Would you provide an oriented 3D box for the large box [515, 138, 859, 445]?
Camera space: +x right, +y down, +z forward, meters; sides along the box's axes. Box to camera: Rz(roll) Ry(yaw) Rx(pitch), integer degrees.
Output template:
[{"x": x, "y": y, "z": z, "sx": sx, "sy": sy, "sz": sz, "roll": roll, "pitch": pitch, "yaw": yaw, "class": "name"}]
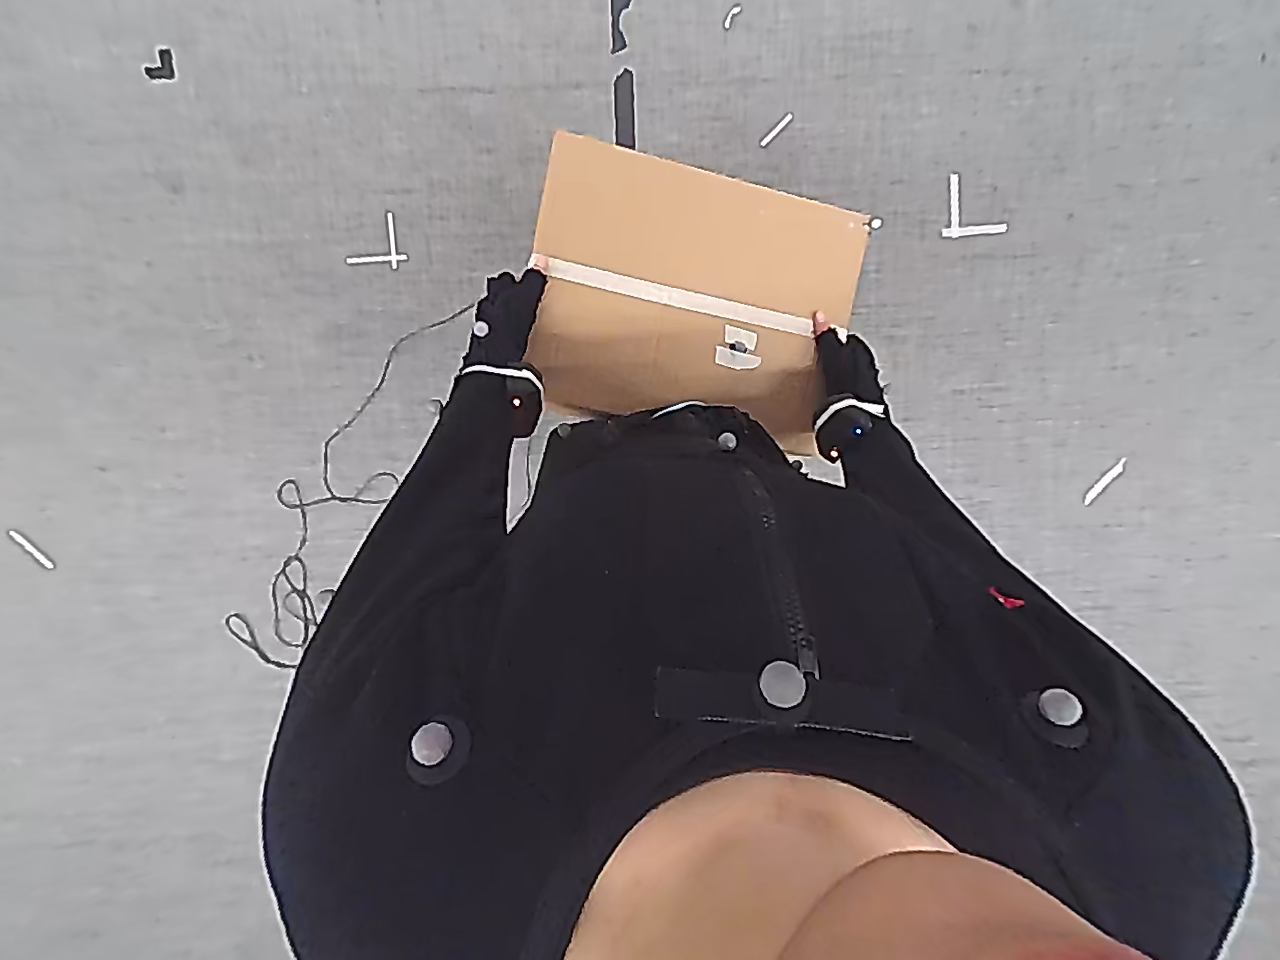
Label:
[{"x": 0.045, "y": -0.242, "z": 0.830, "sx": 0.408, "sy": 0.320, "sz": 0.320, "roll": 11, "pitch": 94, "yaw": -8, "class": "large box"}]
